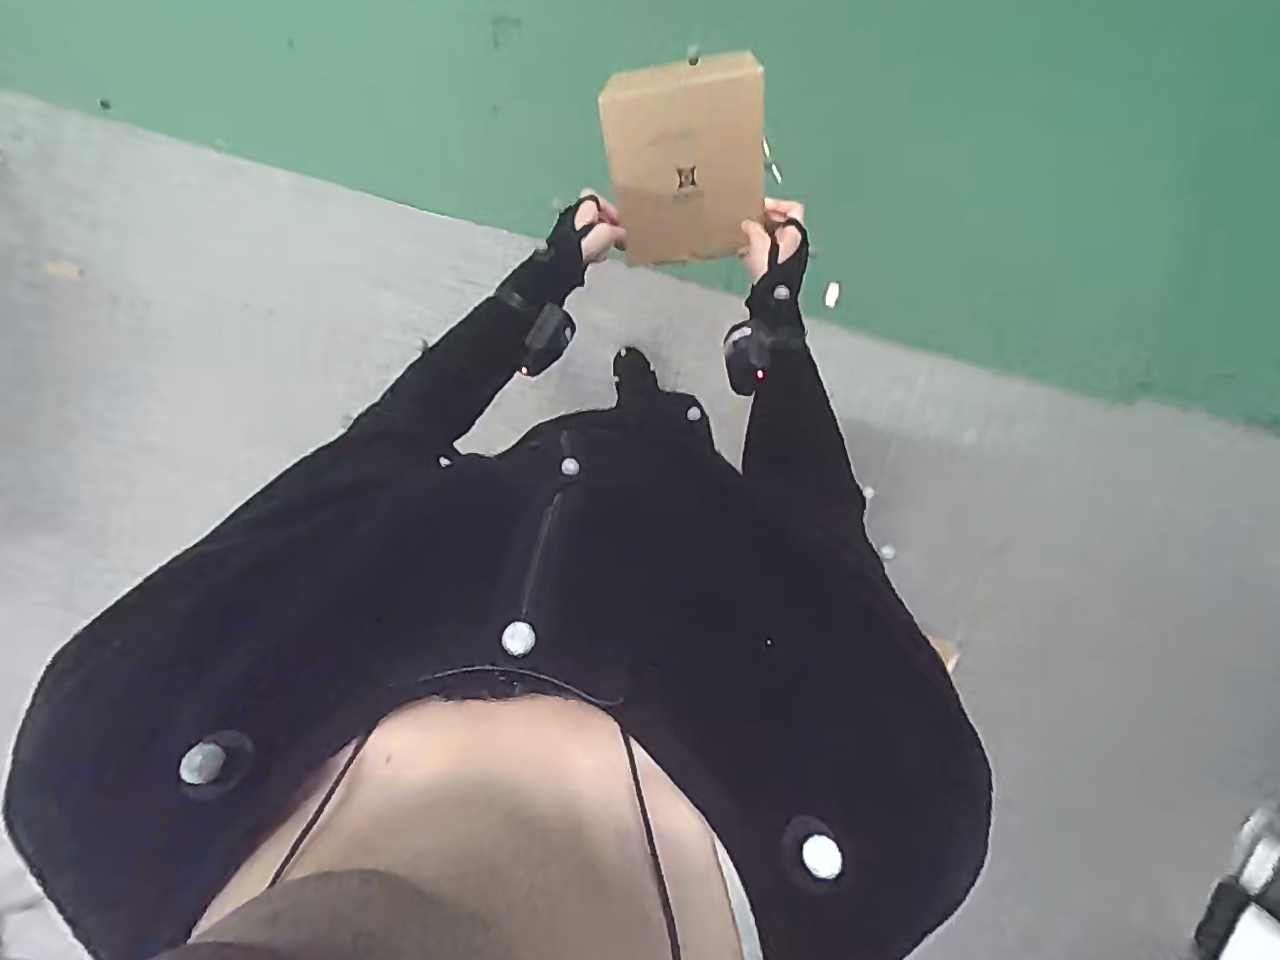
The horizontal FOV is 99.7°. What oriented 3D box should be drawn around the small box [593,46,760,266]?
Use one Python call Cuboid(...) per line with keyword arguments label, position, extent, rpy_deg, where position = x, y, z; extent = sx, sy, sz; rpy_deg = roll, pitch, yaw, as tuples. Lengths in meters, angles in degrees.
Cuboid(label="small box", position=(0.050, -0.380, 0.638), extent=(0.168, 0.176, 0.179), rpy_deg=(-6, 133, 8))
